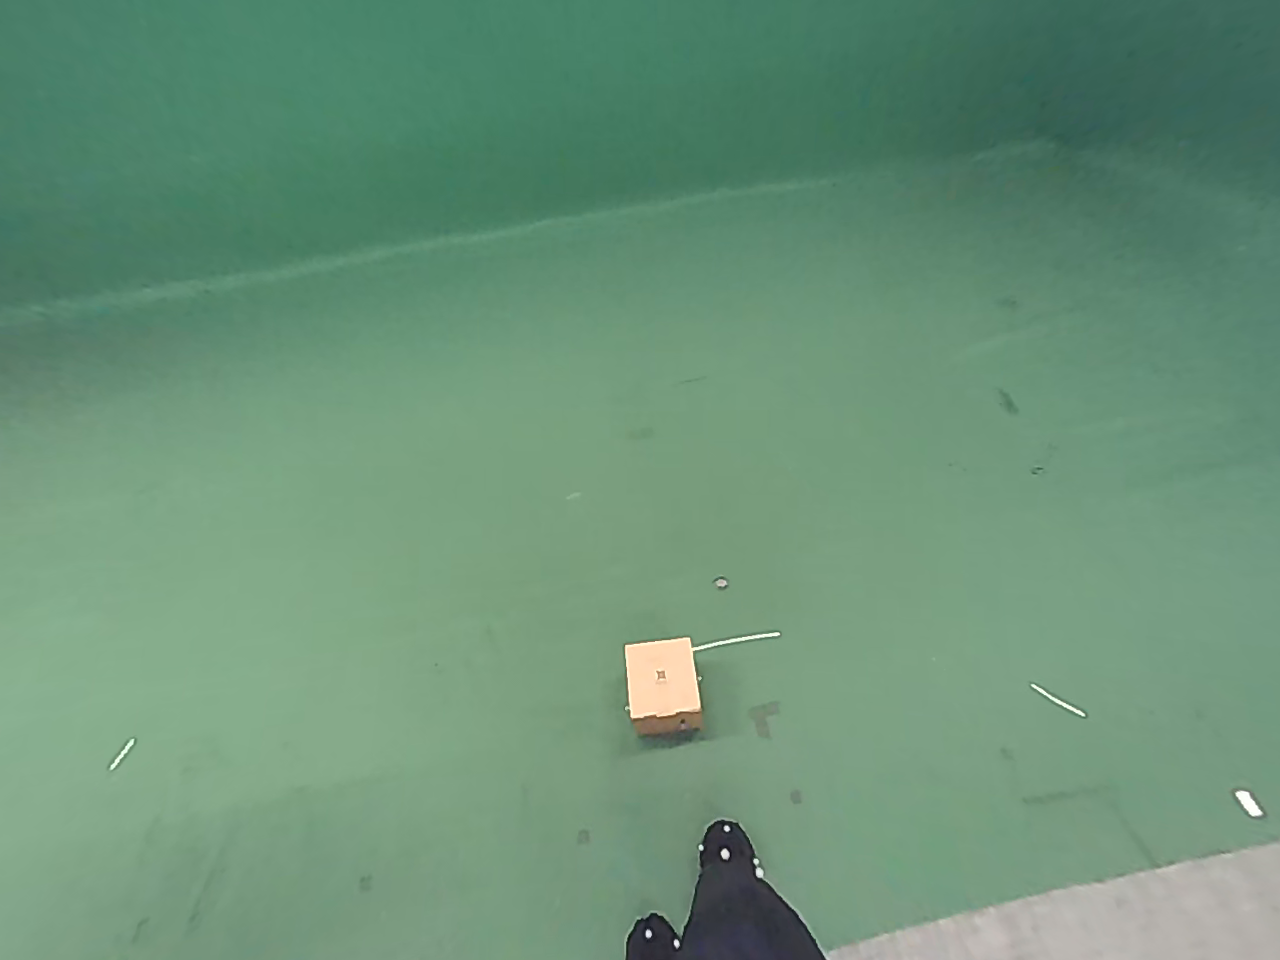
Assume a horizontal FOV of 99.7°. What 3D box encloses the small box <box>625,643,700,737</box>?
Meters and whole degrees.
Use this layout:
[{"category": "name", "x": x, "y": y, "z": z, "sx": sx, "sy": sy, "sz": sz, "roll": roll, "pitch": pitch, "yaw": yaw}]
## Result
[{"category": "small box", "x": 0.057, "y": 0.528, "z": 1.345, "sx": 0.168, "sy": 0.176, "sz": 0.179, "roll": -7, "pitch": 52, "yaw": 0}]
